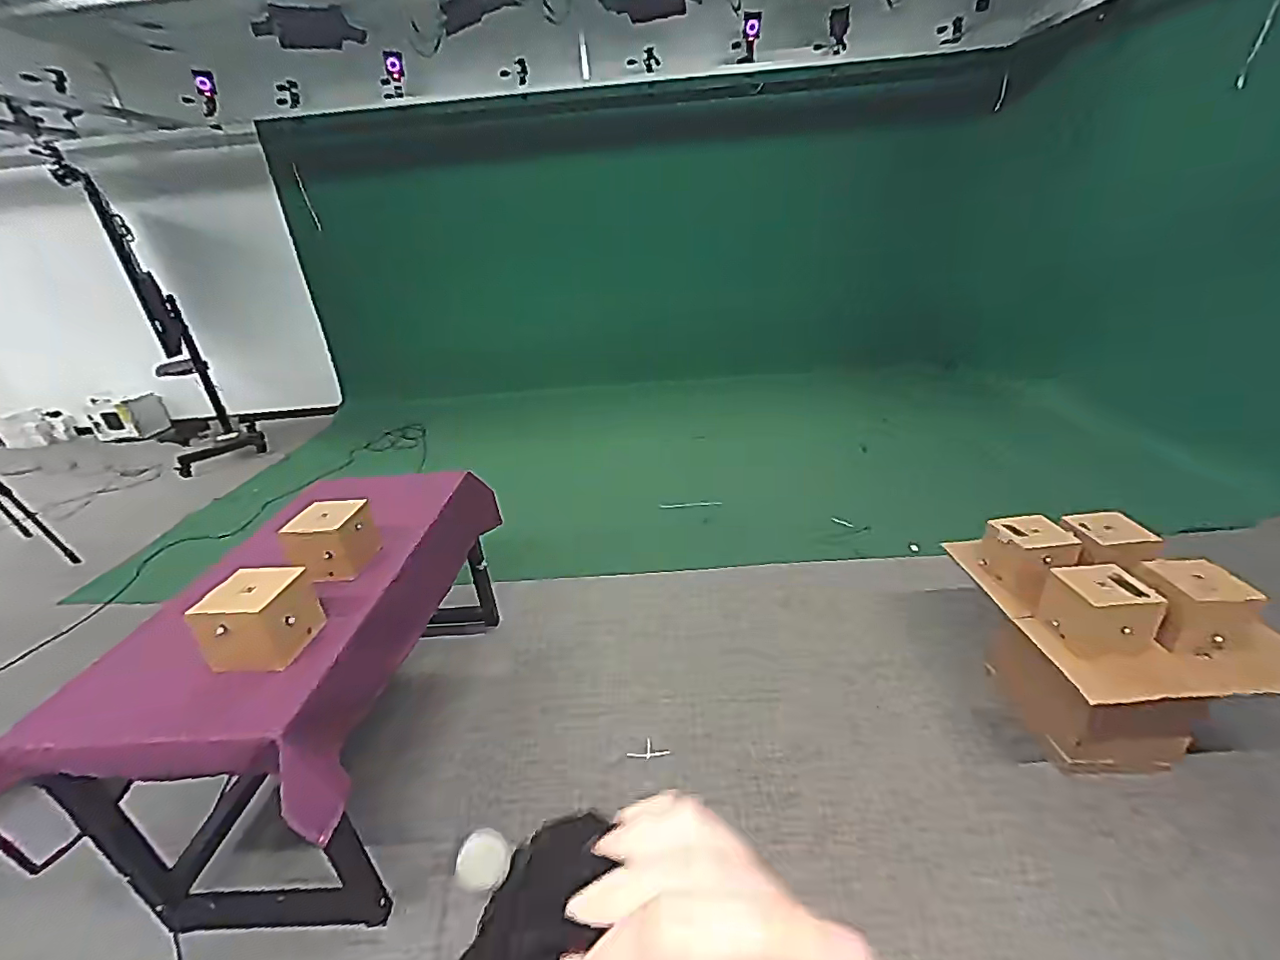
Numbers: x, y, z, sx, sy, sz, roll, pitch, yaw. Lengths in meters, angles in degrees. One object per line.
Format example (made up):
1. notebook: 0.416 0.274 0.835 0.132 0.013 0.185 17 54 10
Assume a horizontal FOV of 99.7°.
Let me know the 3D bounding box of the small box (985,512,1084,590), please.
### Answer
1. small box: 1.180 0.217 1.634 0.179 0.176 0.168 -6 26 -2

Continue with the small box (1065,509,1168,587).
1. small box: 1.394 0.203 1.616 0.179 0.176 0.168 -4 24 0

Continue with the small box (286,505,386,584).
1. small box: -0.864 0.189 1.558 0.168 0.176 0.179 -3 25 5

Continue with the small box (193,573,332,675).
1. small box: -0.861 0.334 1.256 0.179 0.176 0.168 -4 26 7
